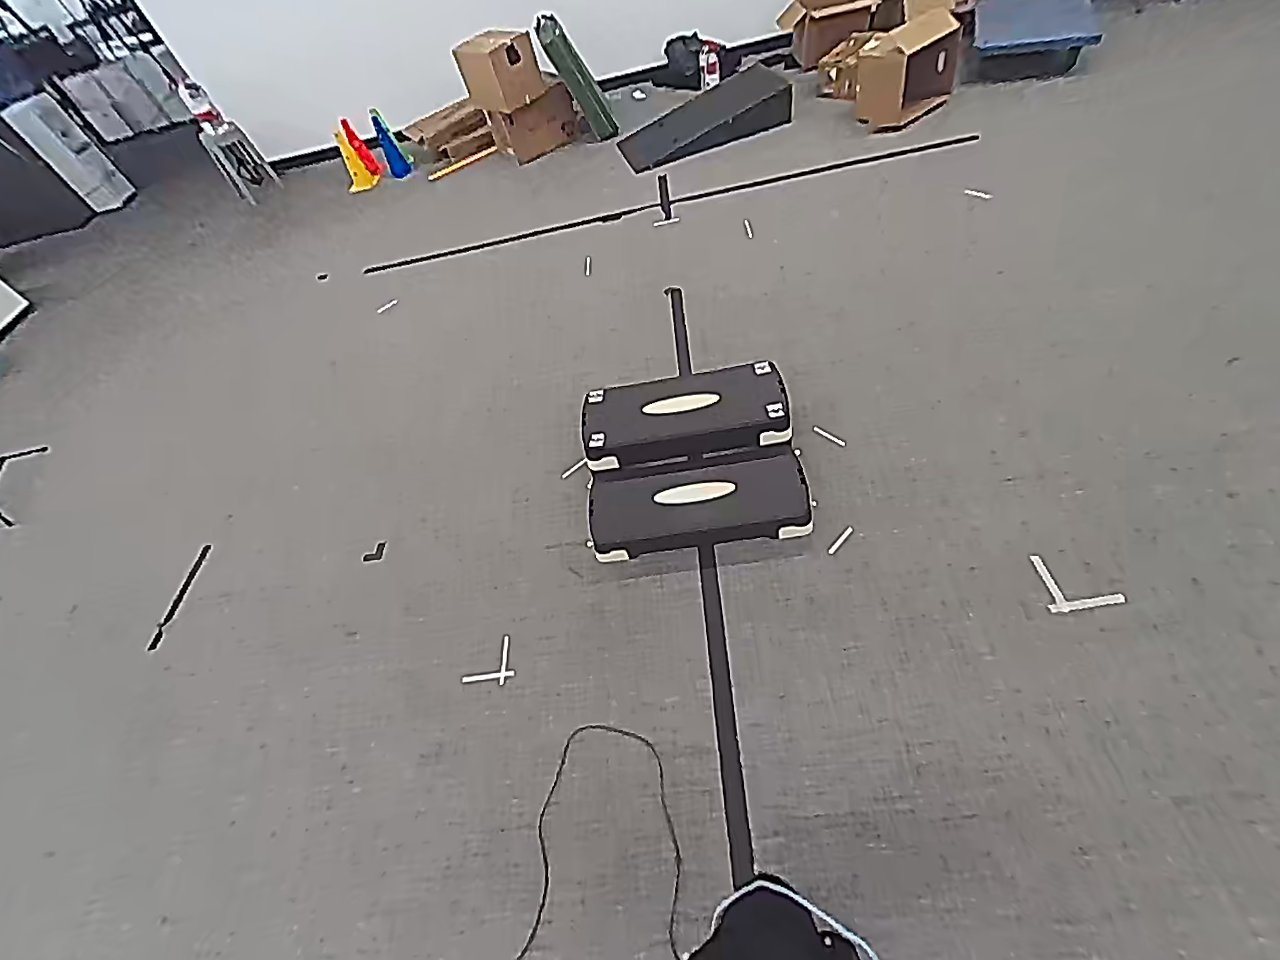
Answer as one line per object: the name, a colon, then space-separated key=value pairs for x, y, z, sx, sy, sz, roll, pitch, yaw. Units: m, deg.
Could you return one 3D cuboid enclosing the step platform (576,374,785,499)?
step platform: x=0.128 y=-0.147 z=1.805 sx=0.684 sy=0.204 sz=0.286 roll=-9 pitch=52 yaw=6
